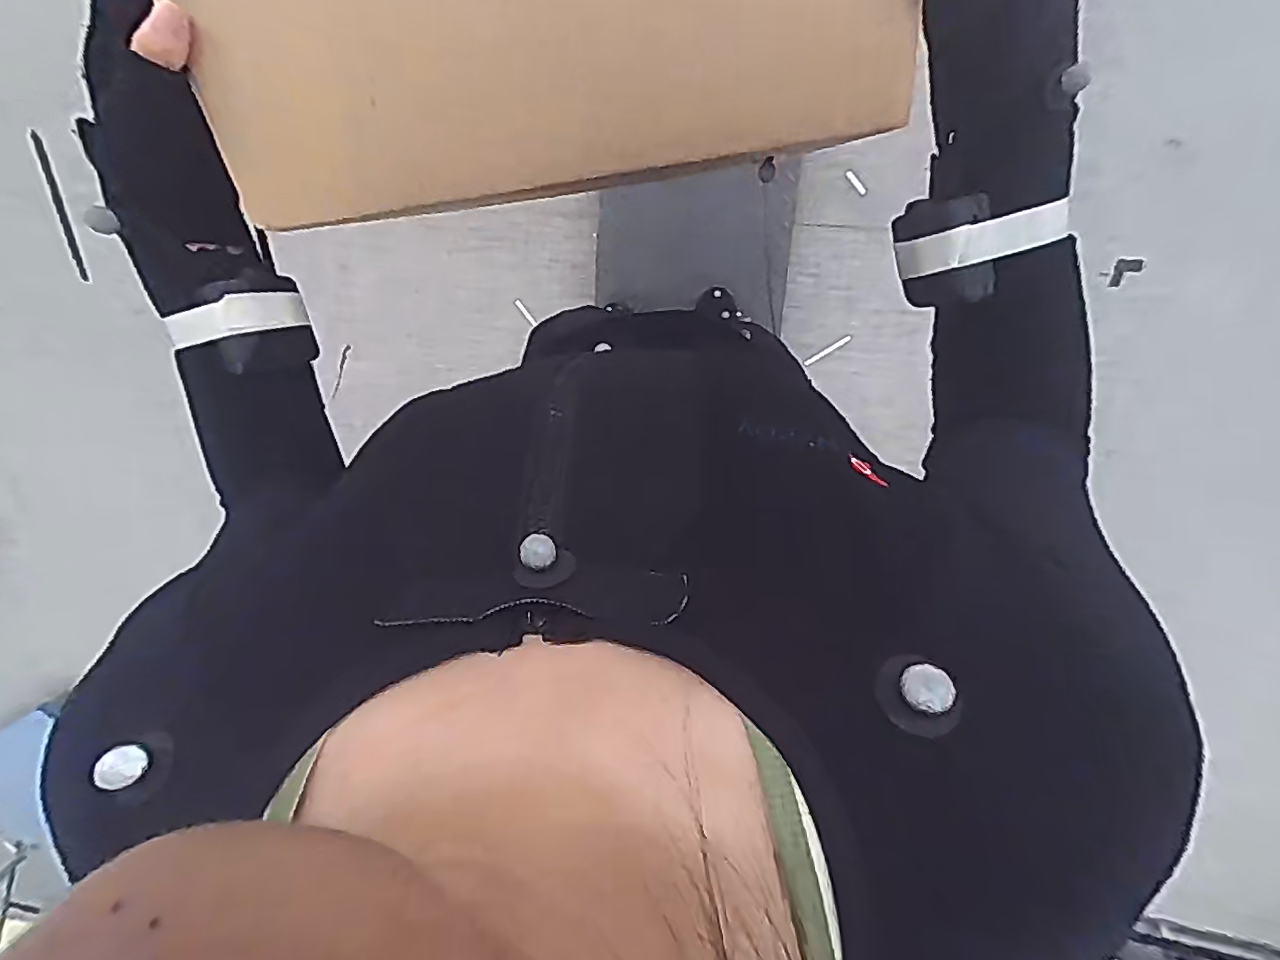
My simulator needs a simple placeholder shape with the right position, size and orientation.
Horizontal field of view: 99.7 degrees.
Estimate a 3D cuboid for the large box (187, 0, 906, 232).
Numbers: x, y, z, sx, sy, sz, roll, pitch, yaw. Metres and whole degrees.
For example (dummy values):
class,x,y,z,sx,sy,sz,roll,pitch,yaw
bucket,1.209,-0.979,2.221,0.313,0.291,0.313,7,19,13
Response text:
class,x,y,z,sx,sy,sz,roll,pitch,yaw
large box,-0.056,-0.394,0.400,0.408,0.320,0.320,-6,118,7
